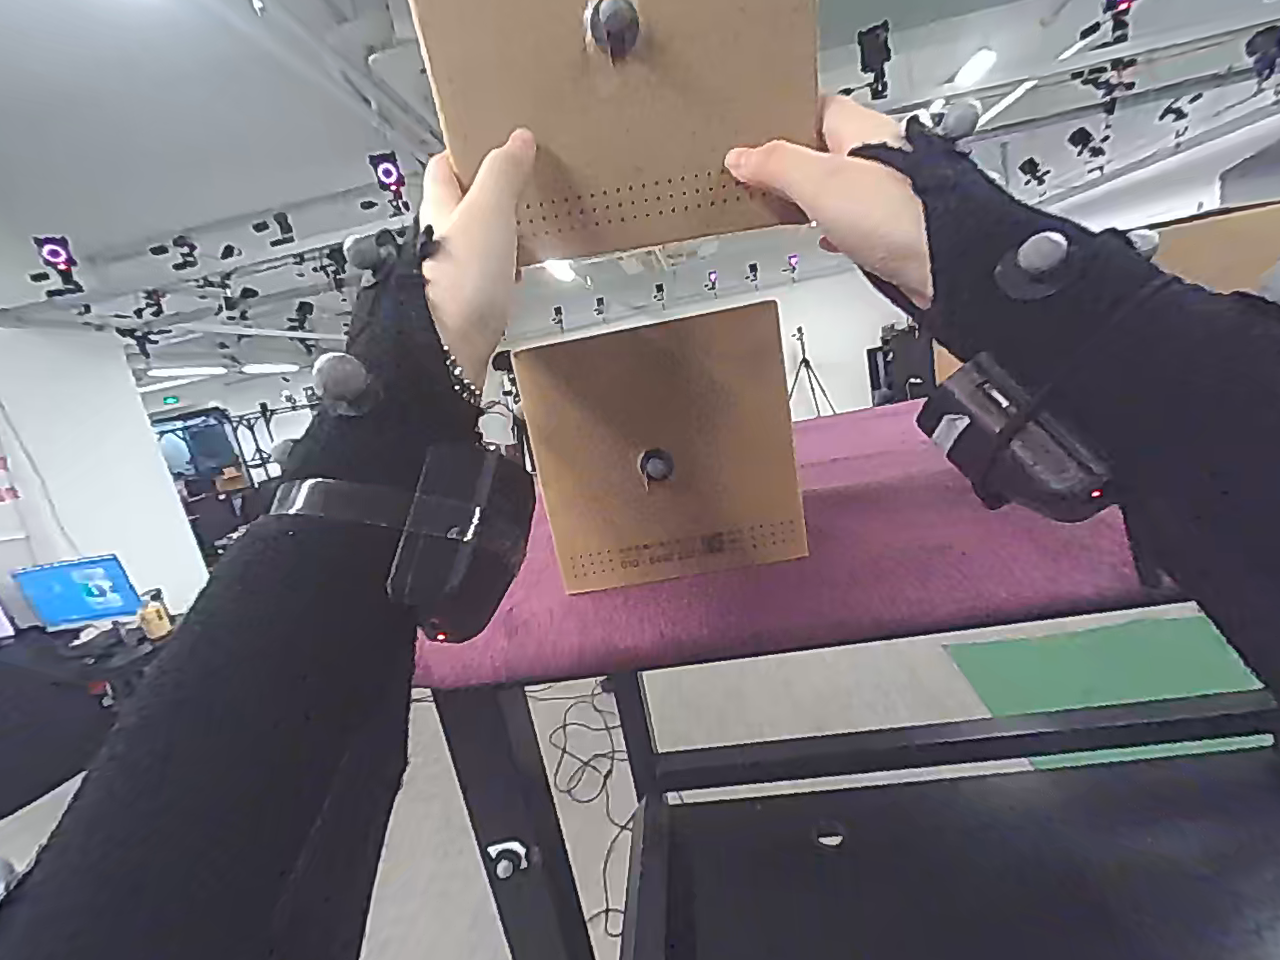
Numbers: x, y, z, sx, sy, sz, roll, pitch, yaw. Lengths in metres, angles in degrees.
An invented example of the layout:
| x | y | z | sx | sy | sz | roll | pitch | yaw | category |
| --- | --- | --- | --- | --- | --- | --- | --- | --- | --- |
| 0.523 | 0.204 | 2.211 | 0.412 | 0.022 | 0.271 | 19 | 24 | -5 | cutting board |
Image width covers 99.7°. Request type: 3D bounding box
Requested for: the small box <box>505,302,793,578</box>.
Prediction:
| x | y | z | sx | sy | sz | roll | pitch | yaw | category |
| --- | --- | --- | --- | --- | --- | --- | --- | --- | --- |
| 0.014 | -0.031 | 0.422 | 0.168 | 0.176 | 0.179 | -9 | 13 | 4 | small box |

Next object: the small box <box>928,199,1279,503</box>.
| x | y | z | sx | sy | sz | roll | pitch | yaw | category |
| --- | --- | --- | --- | --- | --- | --- | --- | --- | --- |
| 0.351 | -0.094 | 0.416 | 0.179 | 0.176 | 0.168 | -11 | 12 | 5 | small box |
